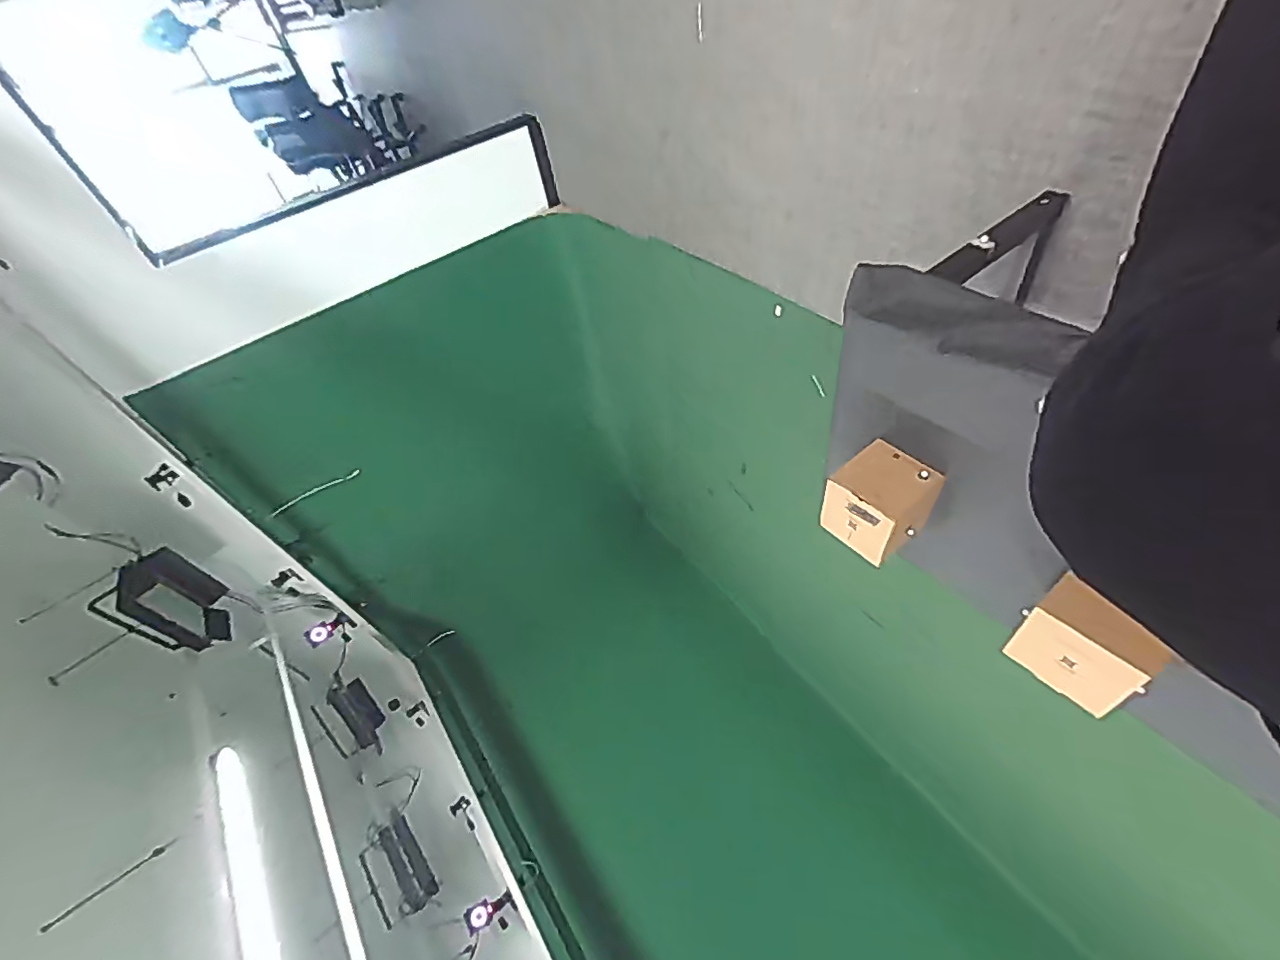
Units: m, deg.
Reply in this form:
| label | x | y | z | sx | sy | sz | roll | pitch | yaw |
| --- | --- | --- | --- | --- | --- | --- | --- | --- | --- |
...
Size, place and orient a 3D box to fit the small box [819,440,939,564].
| label | x | y | z | sx | sy | sz | roll | pitch | yaw |
| --- | --- | --- | --- | --- | --- | --- | --- | --- | --- |
| small box | 0.527 | 0.043 | 1.198 | 0.168 | 0.176 | 0.179 | 42 | 158 | 35 |

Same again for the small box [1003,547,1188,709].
| label | x | y | z | sx | sy | sz | roll | pitch | yaw |
| --- | --- | --- | --- | --- | --- | --- | --- | --- | --- |
| small box | 0.782 | 0.252 | 0.936 | 0.168 | 0.176 | 0.179 | 39 | 155 | 38 |
